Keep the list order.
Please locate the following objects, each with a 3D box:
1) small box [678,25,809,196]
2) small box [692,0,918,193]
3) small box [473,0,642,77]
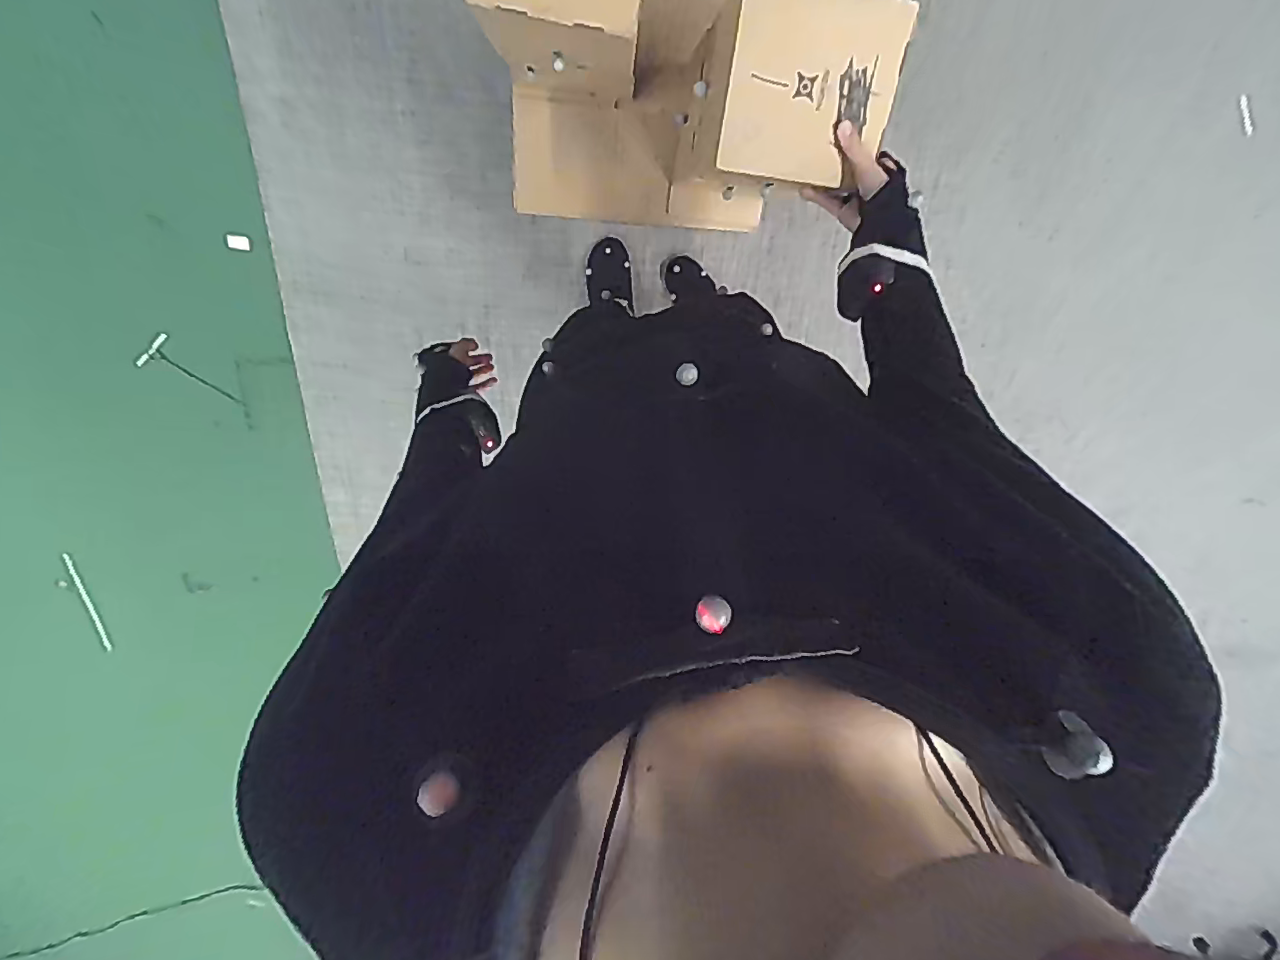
[{"bbox_3d":[0.154,-0.504,0.763,0.179,0.176,0.168,5,117,-5],"label":"small box"},{"bbox_3d":[0.168,-0.432,0.616,0.179,0.176,0.168,5,116,-6],"label":"small box"},{"bbox_3d":[-0.075,-0.552,0.553,0.168,0.176,0.179,8,115,-5],"label":"small box"}]
